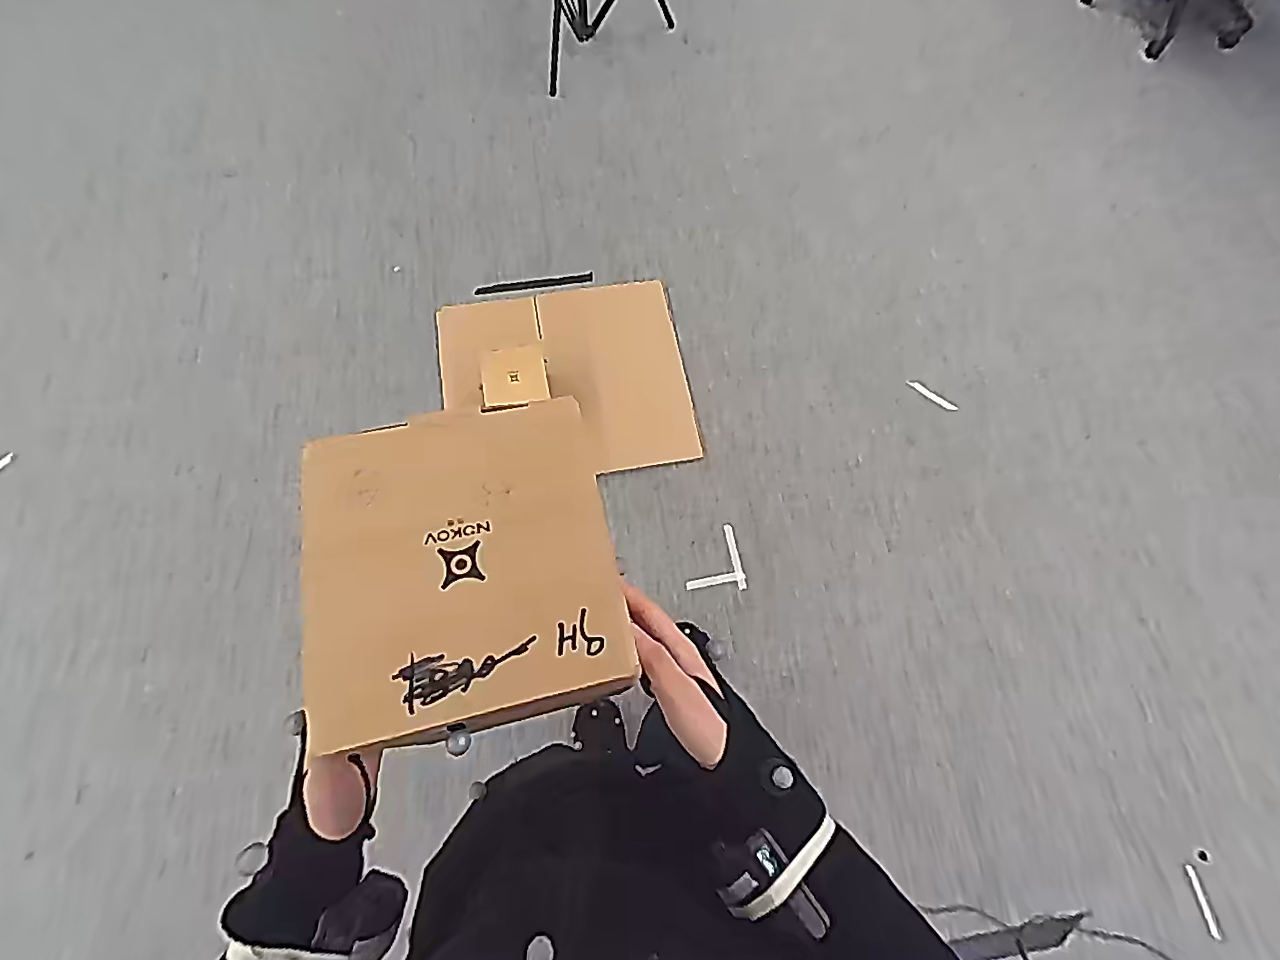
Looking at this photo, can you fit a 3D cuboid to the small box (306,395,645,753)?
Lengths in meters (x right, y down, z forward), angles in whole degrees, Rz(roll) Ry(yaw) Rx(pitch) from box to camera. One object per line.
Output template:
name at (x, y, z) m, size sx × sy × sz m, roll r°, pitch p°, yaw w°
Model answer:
small box at (-0.099, 0.071, 0.370) m, size 0.168 × 0.176 × 0.179 m, roll -12°, pitch 67°, yaw -7°

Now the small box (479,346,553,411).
small box at (-0.324, -0.231, 1.460) m, size 0.168 × 0.176 × 0.179 m, roll -11°, pitch 72°, yaw -6°
